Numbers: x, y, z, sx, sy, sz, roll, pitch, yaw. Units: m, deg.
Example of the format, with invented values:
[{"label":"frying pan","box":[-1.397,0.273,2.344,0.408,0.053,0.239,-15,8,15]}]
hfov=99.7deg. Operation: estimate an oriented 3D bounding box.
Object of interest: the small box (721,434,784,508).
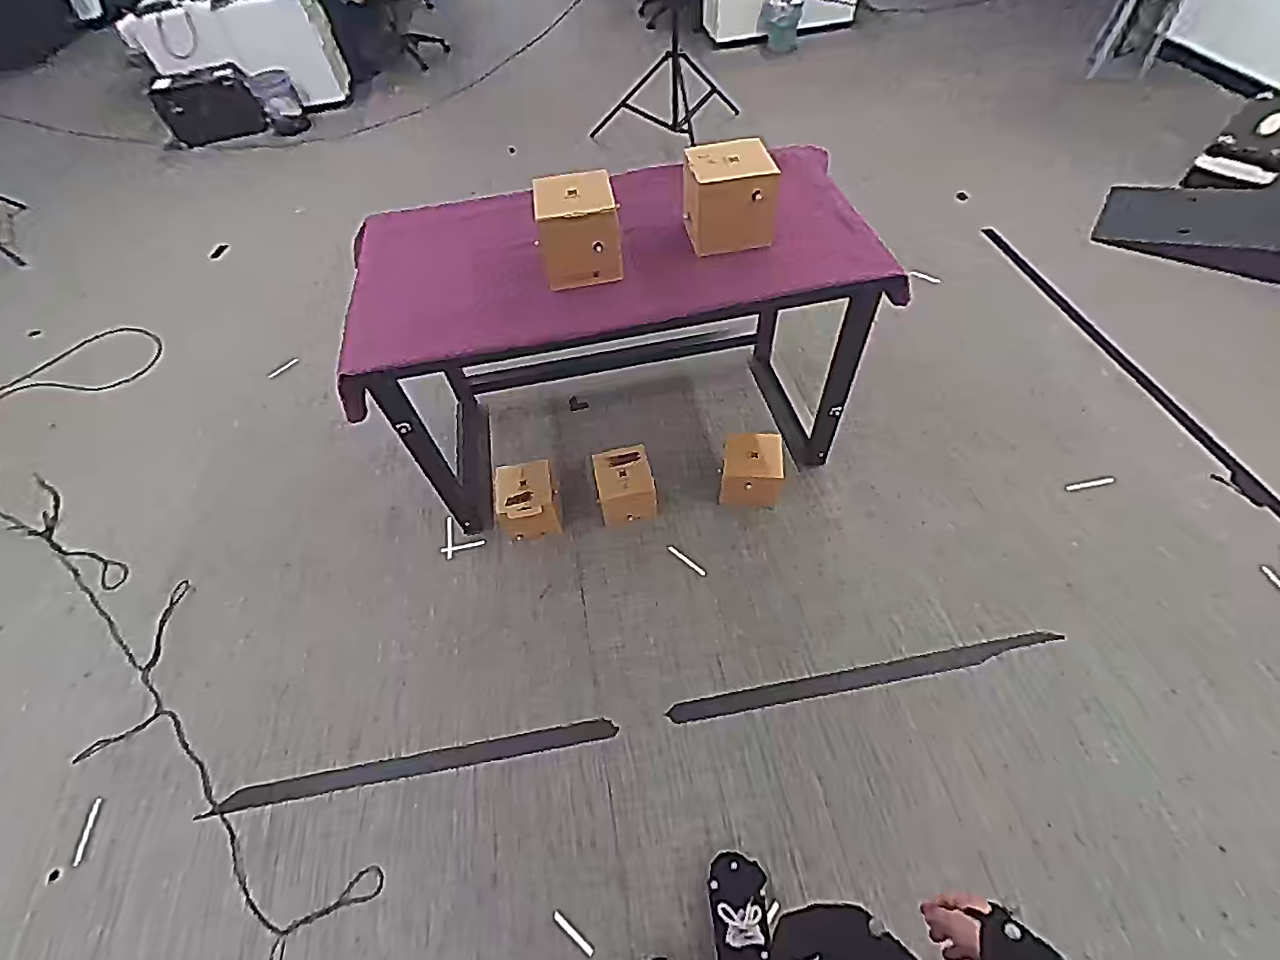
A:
[{"label":"small box","box":[0.347,-0.024,1.685,0.179,0.176,0.168,3,56,8]}]

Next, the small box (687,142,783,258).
[{"label":"small box","box":[0.206,-0.633,1.227,0.179,0.176,0.168,-10,54,-1]}]

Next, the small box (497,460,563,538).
[{"label":"small box","box":[-0.339,0.067,1.677,0.168,0.176,0.179,-10,54,-2]}]

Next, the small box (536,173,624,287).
[{"label":"small box","box":[-0.130,-0.545,1.196,0.168,0.176,0.179,-9,53,-3]}]
